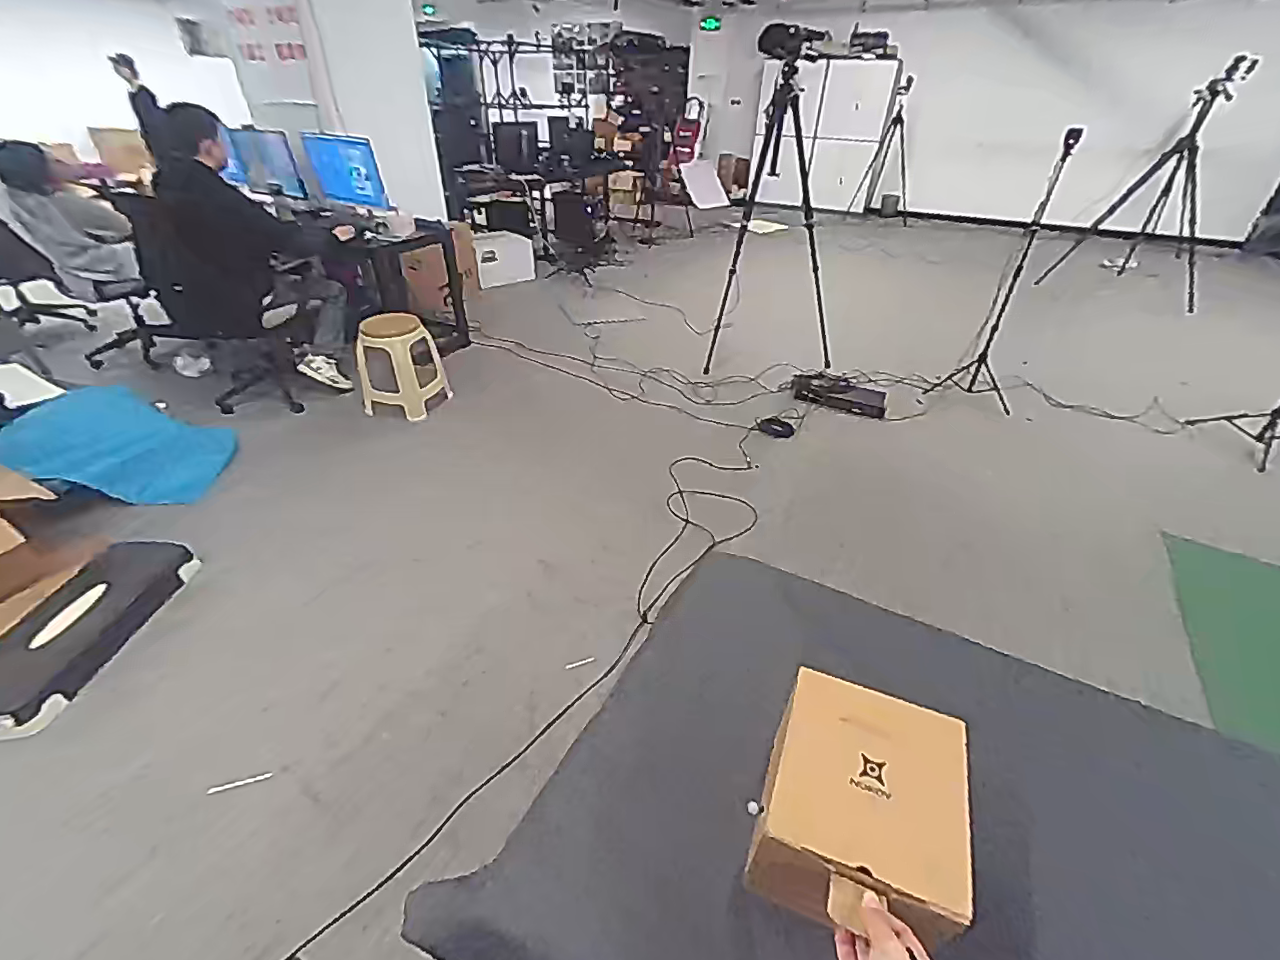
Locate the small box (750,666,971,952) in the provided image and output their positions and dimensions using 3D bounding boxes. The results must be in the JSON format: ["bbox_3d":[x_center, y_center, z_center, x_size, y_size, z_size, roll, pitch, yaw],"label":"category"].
[{"bbox_3d":[0.216,0.334,0.555,0.168,0.176,0.179,15,41,17],"label":"small box"}]
